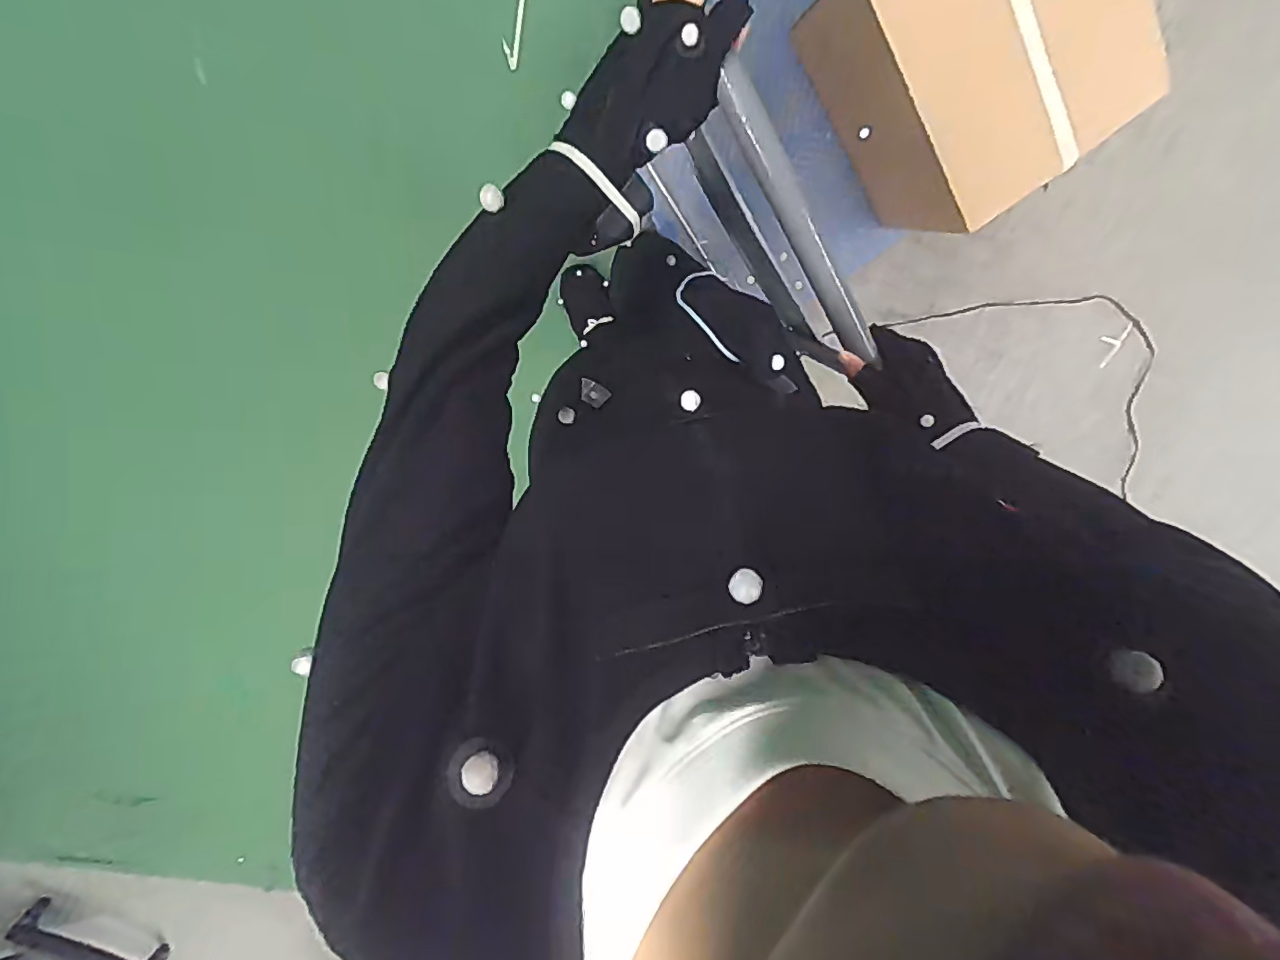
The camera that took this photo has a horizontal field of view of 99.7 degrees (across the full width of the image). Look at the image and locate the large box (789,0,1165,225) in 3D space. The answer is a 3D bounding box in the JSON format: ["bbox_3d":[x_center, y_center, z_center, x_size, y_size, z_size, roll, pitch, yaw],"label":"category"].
[{"bbox_3d":[0.503,-0.684,0.868,0.320,0.320,0.408,-35,112,14],"label":"large box"}]
